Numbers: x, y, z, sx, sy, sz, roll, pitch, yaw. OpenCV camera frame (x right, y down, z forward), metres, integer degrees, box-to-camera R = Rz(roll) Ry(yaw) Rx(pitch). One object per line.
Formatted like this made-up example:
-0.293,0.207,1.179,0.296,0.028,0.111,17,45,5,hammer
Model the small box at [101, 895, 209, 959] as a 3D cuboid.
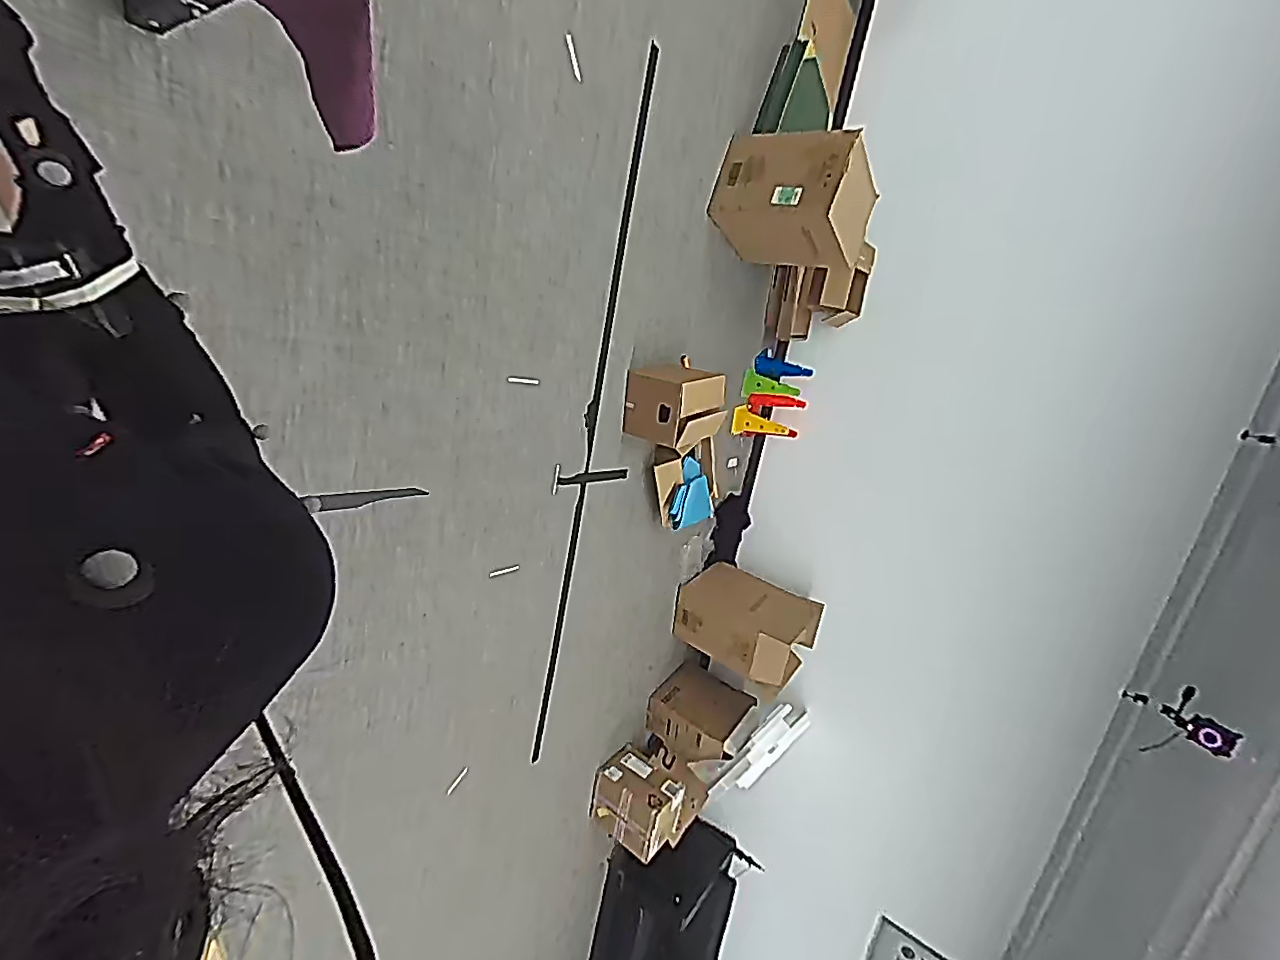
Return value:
-1.328,1.307,1.479,0.179,0.176,0.168,-26,129,-51,small box
